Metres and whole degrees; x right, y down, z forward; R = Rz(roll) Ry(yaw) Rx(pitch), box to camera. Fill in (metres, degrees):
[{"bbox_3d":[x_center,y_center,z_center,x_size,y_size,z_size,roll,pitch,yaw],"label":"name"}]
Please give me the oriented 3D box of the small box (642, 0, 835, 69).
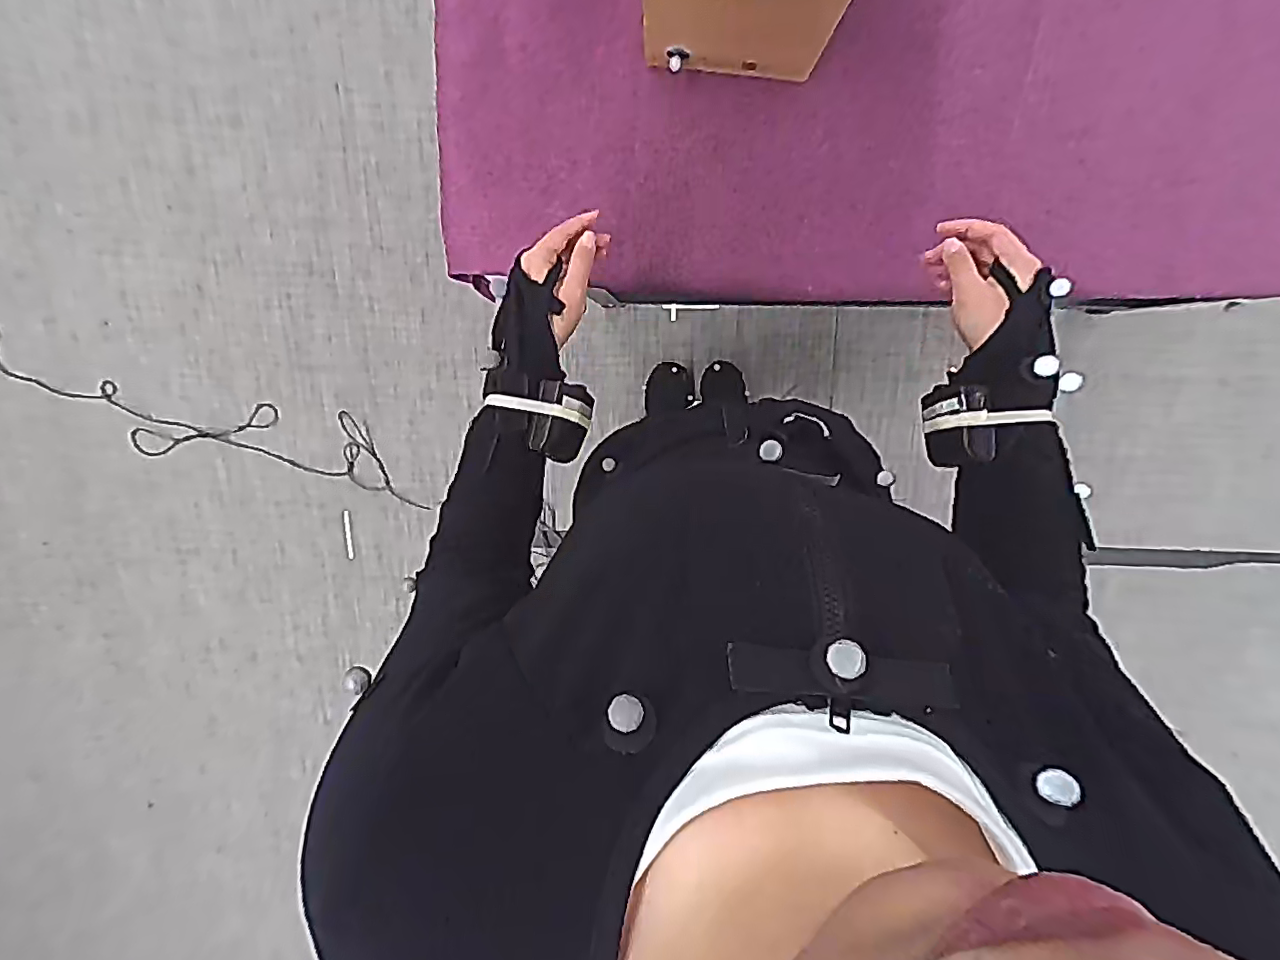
[{"bbox_3d":[0.090,-0.479,0.444,0.168,0.176,0.179,6,104,0],"label":"small box"}]
